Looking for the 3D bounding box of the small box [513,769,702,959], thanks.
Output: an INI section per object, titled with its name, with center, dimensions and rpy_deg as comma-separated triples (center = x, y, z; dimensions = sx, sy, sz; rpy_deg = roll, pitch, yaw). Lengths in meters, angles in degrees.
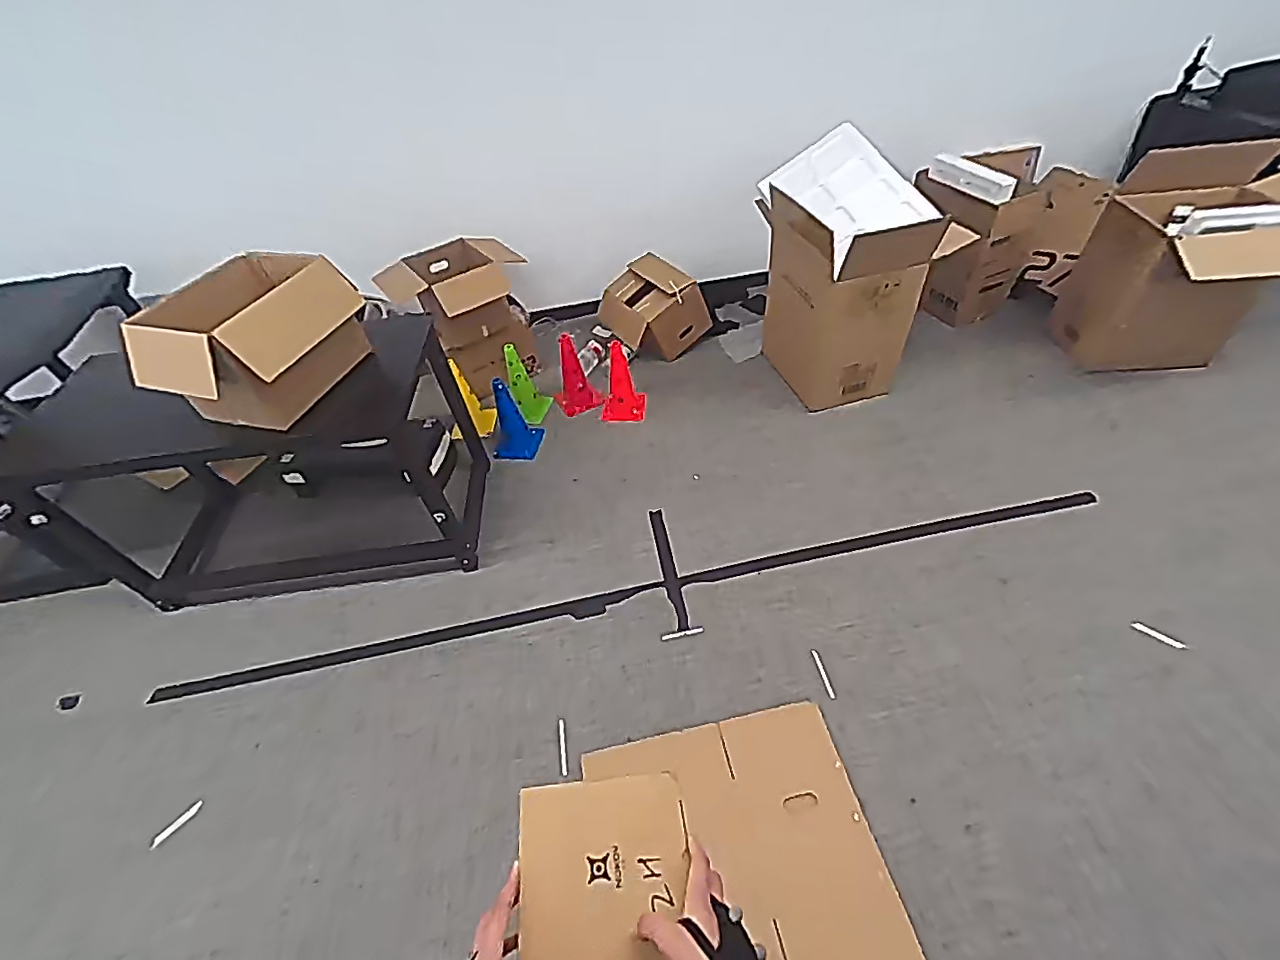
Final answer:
[small box]
center = -0.044, 0.442, 0.600
dimensions = 0.179, 0.176, 0.168
rpy_deg = -1, 48, -10
